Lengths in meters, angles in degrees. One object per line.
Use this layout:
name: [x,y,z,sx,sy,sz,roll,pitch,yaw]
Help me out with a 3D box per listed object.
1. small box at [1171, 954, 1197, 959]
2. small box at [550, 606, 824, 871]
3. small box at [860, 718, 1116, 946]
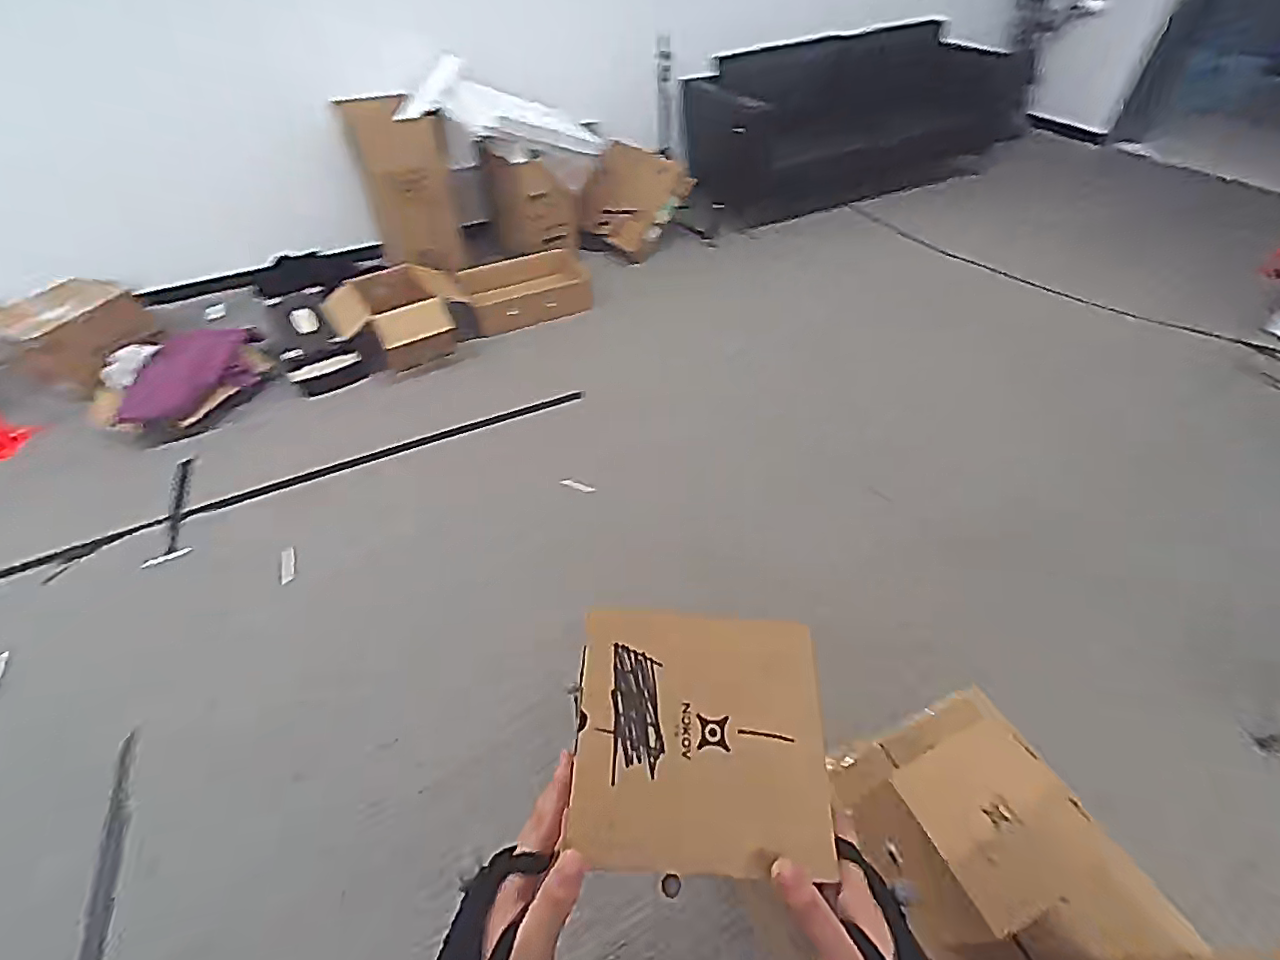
small box: [0.489,0.591,0.508,0.179,0.176,0.168,-19,47,-14]
small box: [0.025,0.216,0.444,0.179,0.176,0.168,5,56,-5]
small box: [0.405,0.432,0.666,0.179,0.176,0.168,-20,48,-14]
